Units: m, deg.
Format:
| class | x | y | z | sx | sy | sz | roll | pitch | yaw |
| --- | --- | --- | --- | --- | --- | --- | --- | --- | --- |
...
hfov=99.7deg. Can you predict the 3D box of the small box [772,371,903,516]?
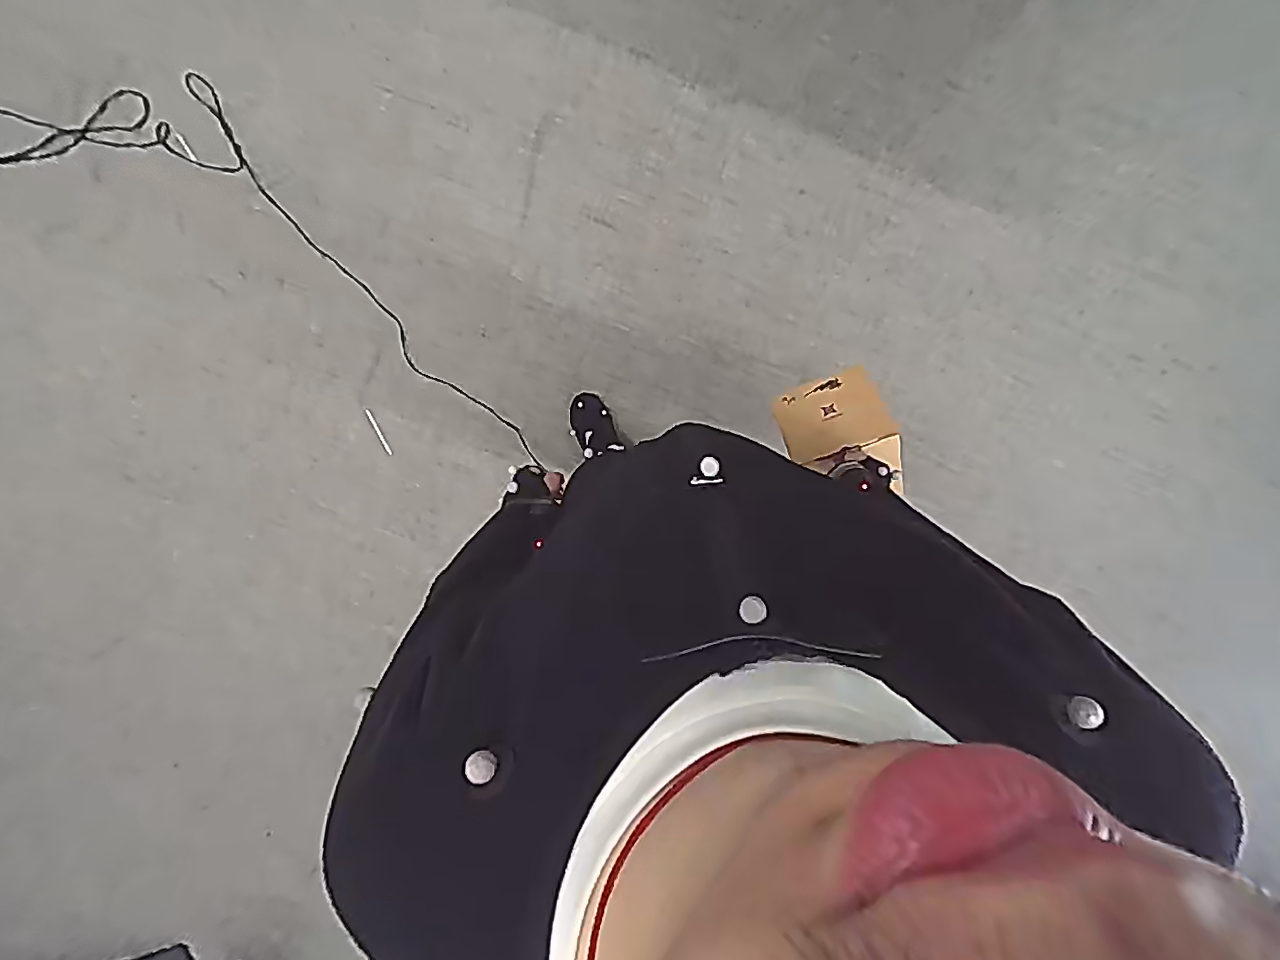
| class | x | y | z | sx | sy | sz | roll | pitch | yaw |
| --- | --- | --- | --- | --- | --- | --- | --- | --- | --- |
| small box | 0.356 | -0.055 | 0.970 | 0.168 | 0.179 | 0.176 | -20 | 136 | 14 |
